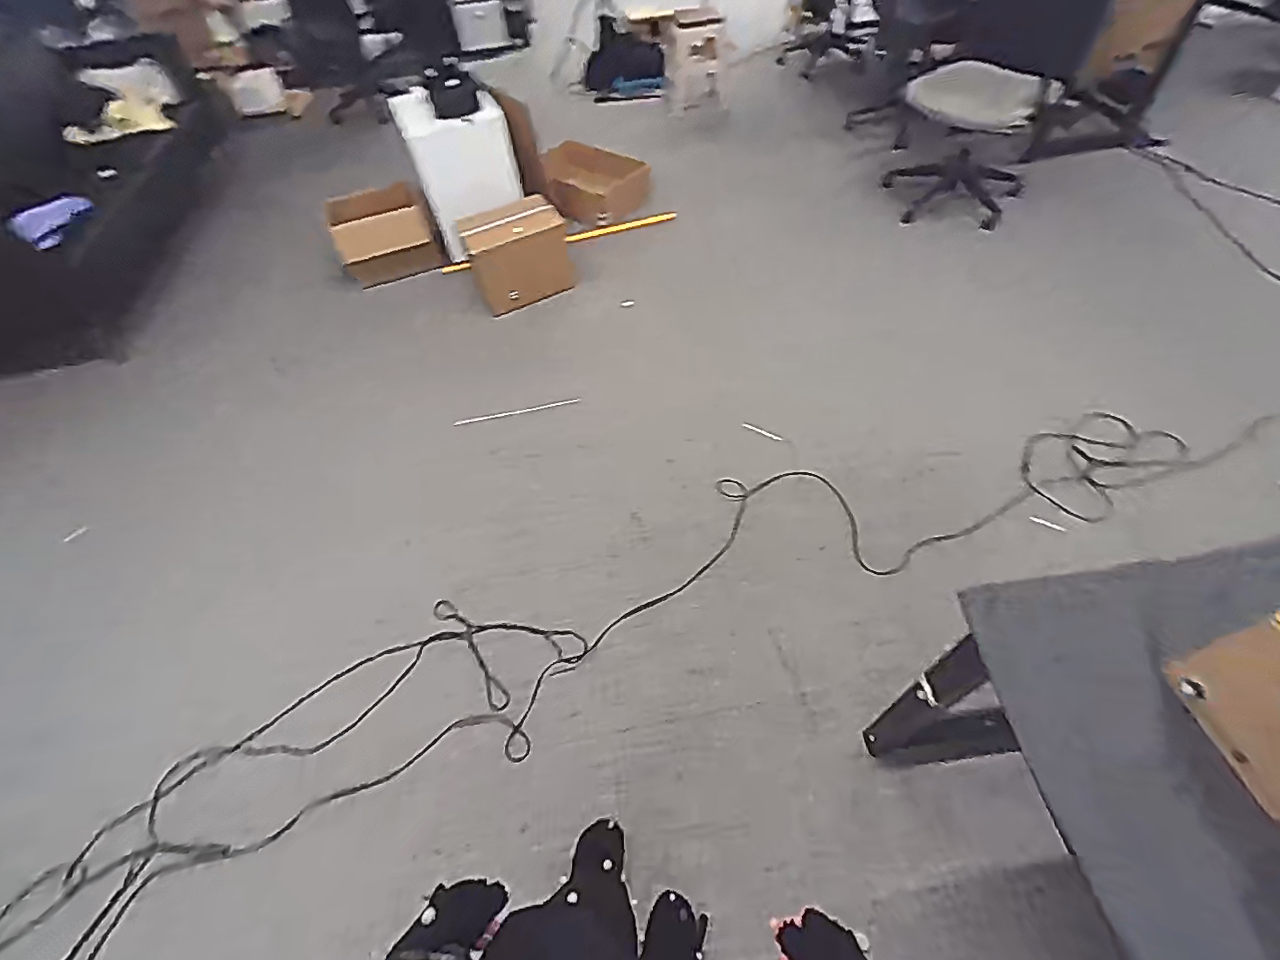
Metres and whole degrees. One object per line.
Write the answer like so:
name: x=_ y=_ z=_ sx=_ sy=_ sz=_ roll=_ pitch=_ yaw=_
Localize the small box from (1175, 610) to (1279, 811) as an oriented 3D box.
small box: x=0.726 y=0.229 z=0.558 sx=0.179 sy=0.176 sz=0.168 roll=-11 pitch=53 yaw=-4
